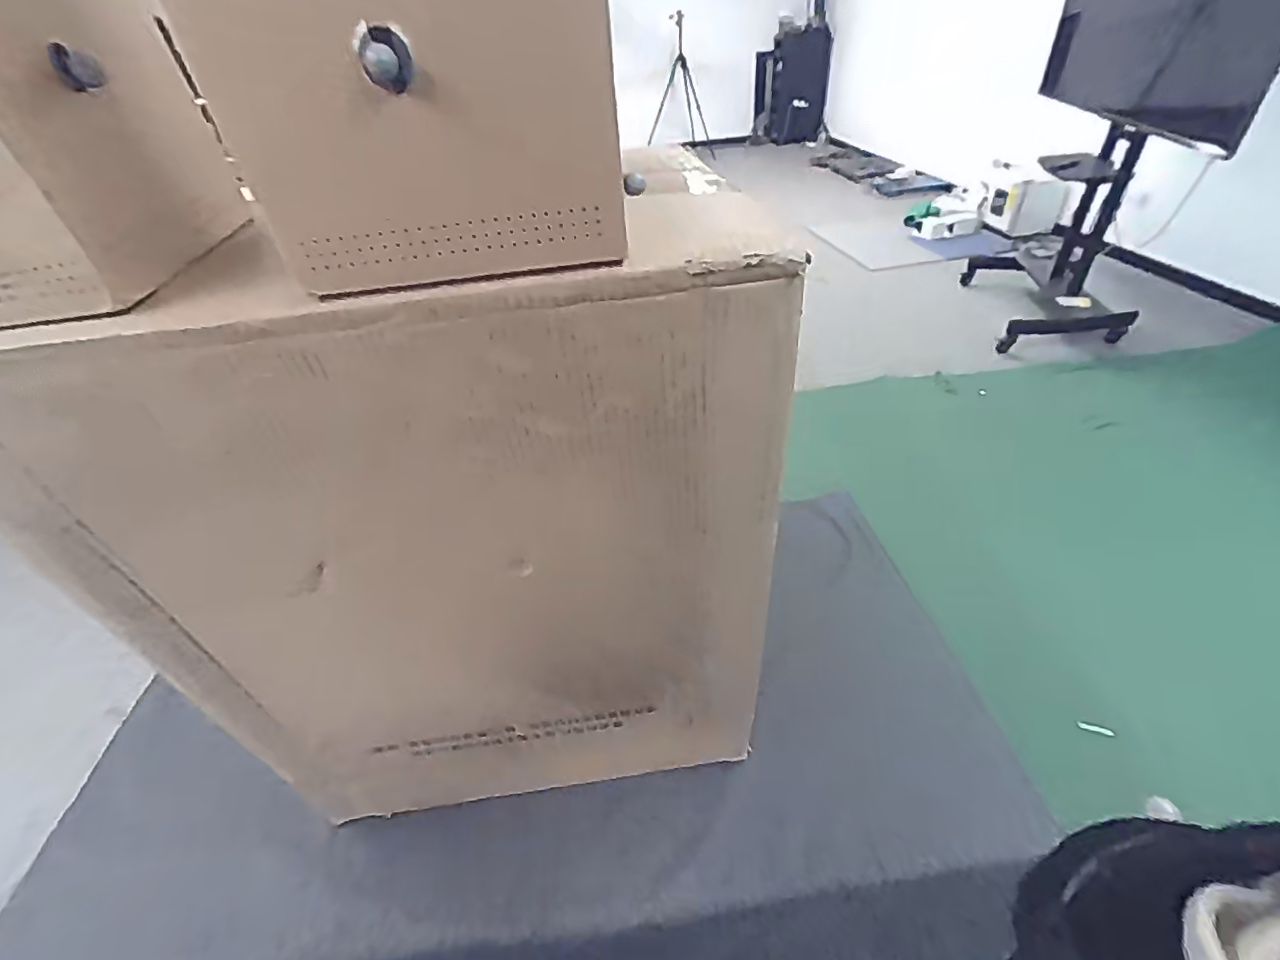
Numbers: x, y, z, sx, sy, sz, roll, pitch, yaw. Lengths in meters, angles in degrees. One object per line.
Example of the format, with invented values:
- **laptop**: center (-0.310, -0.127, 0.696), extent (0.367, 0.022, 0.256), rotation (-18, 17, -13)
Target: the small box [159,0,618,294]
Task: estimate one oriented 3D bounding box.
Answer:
- **small box**: center (-0.106, -0.219, 0.296), extent (0.179, 0.176, 0.168), rotation (-8, 41, -2)
